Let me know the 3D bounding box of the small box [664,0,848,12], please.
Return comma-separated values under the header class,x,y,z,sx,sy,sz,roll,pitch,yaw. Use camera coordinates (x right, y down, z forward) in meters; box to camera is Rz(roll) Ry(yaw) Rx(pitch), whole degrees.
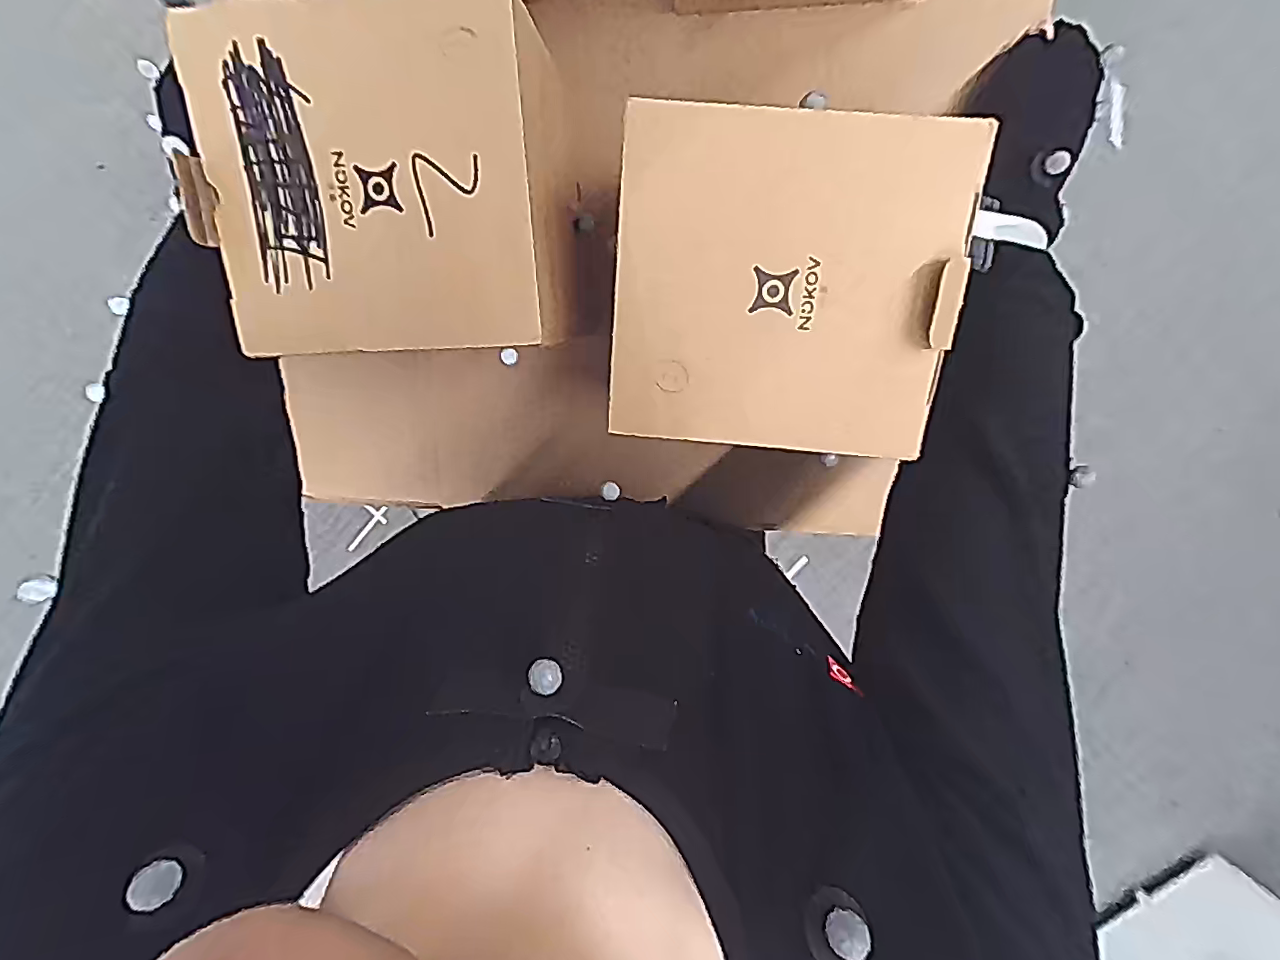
class,x,y,z,sx,sy,sz,roll,pitch,yaw
small box,0.092,-0.390,0.282,0.179,0.176,0.168,1,104,6
